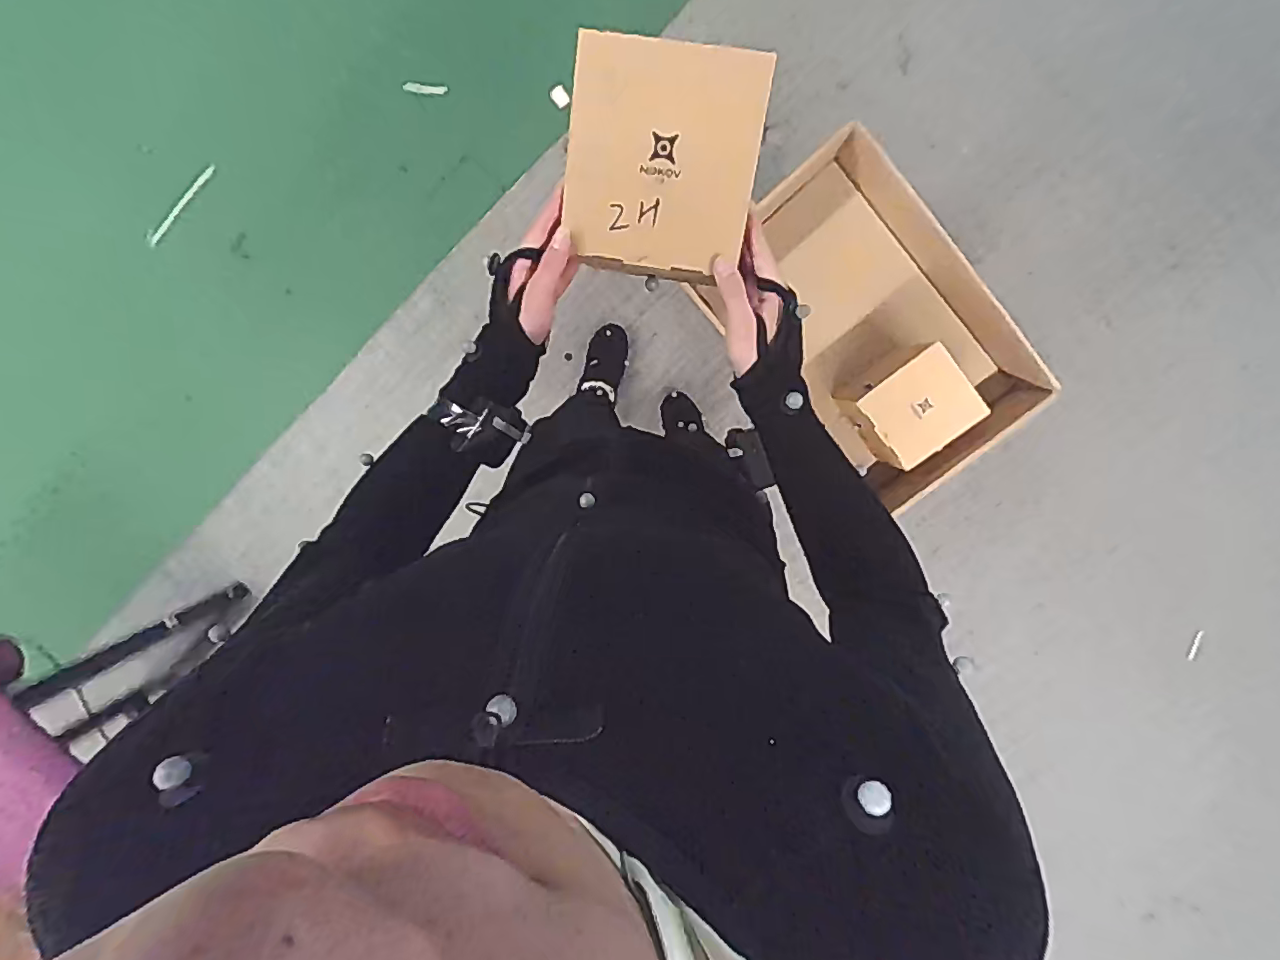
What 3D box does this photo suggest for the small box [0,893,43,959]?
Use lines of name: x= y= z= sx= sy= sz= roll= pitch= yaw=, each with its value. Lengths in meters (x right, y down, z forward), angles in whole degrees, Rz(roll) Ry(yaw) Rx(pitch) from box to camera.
small box: x=-1.440 y=1.026 z=1.134 sx=0.179 sy=0.176 sz=0.168 roll=-43 pitch=96 yaw=10

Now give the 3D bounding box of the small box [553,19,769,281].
small box: x=0.019 y=-0.305 z=0.540 sx=0.168 sy=0.176 sz=0.179 roll=9 pitch=108 yaw=2
